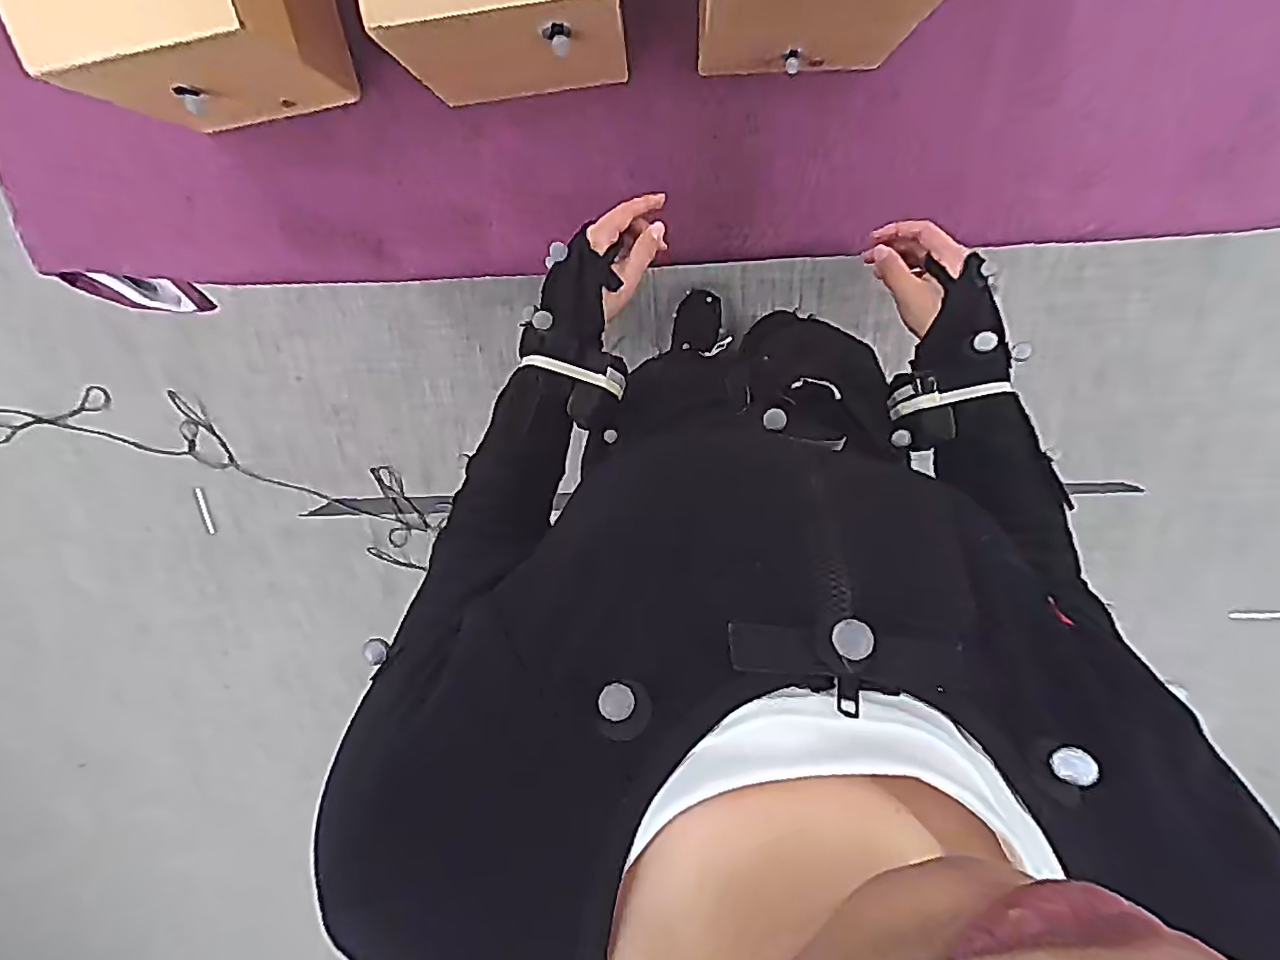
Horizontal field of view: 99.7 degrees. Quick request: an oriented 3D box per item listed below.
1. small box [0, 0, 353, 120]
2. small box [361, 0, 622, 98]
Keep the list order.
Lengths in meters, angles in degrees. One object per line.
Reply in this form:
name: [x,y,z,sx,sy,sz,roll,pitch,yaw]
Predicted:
small box: [-0.363,-0.409,0.424,0.168,0.176,0.179,-8,109,5]
small box: [-0.108,-0.420,0.410,0.179,0.176,0.168,-6,109,3]
